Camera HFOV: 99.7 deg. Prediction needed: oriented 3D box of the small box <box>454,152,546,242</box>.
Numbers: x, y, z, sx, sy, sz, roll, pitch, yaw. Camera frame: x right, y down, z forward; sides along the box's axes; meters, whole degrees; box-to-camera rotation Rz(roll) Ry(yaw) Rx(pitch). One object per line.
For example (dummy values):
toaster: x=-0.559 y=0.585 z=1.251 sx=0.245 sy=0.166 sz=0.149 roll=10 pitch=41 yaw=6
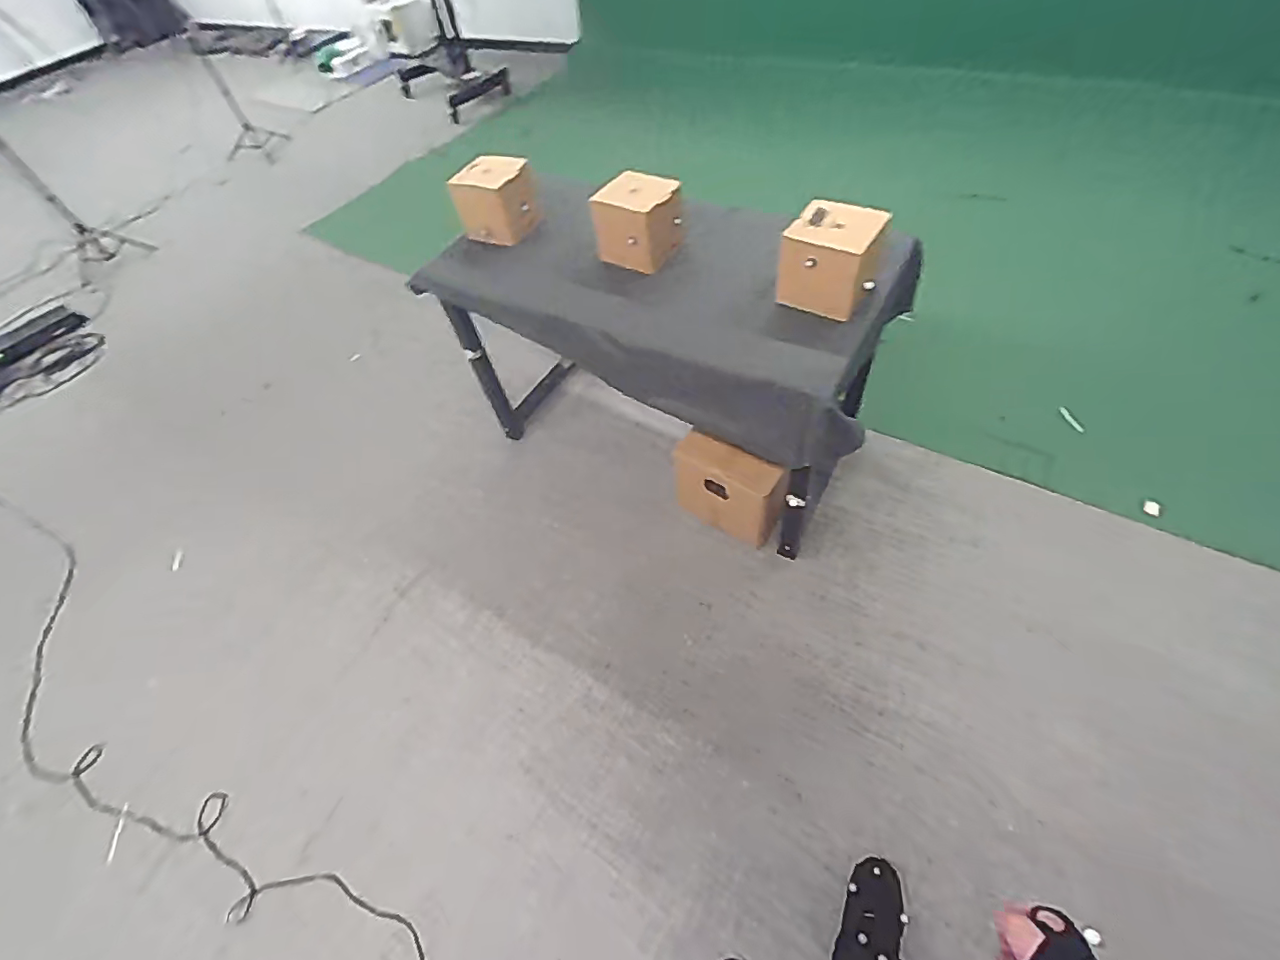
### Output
small box: x=-0.396 y=-0.817 z=1.569 sx=0.179 sy=0.176 sz=0.168 roll=20 pitch=59 yaw=20

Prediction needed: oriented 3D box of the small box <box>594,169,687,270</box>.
small box: x=0.010 y=-0.672 z=1.403 sx=0.179 sy=0.176 sz=0.168 roll=26 pitch=60 yaw=26

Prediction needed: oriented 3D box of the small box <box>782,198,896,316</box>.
small box: x=0.431 y=-0.491 z=1.198 sx=0.179 sy=0.176 sz=0.168 roll=28 pitch=63 yaw=25
